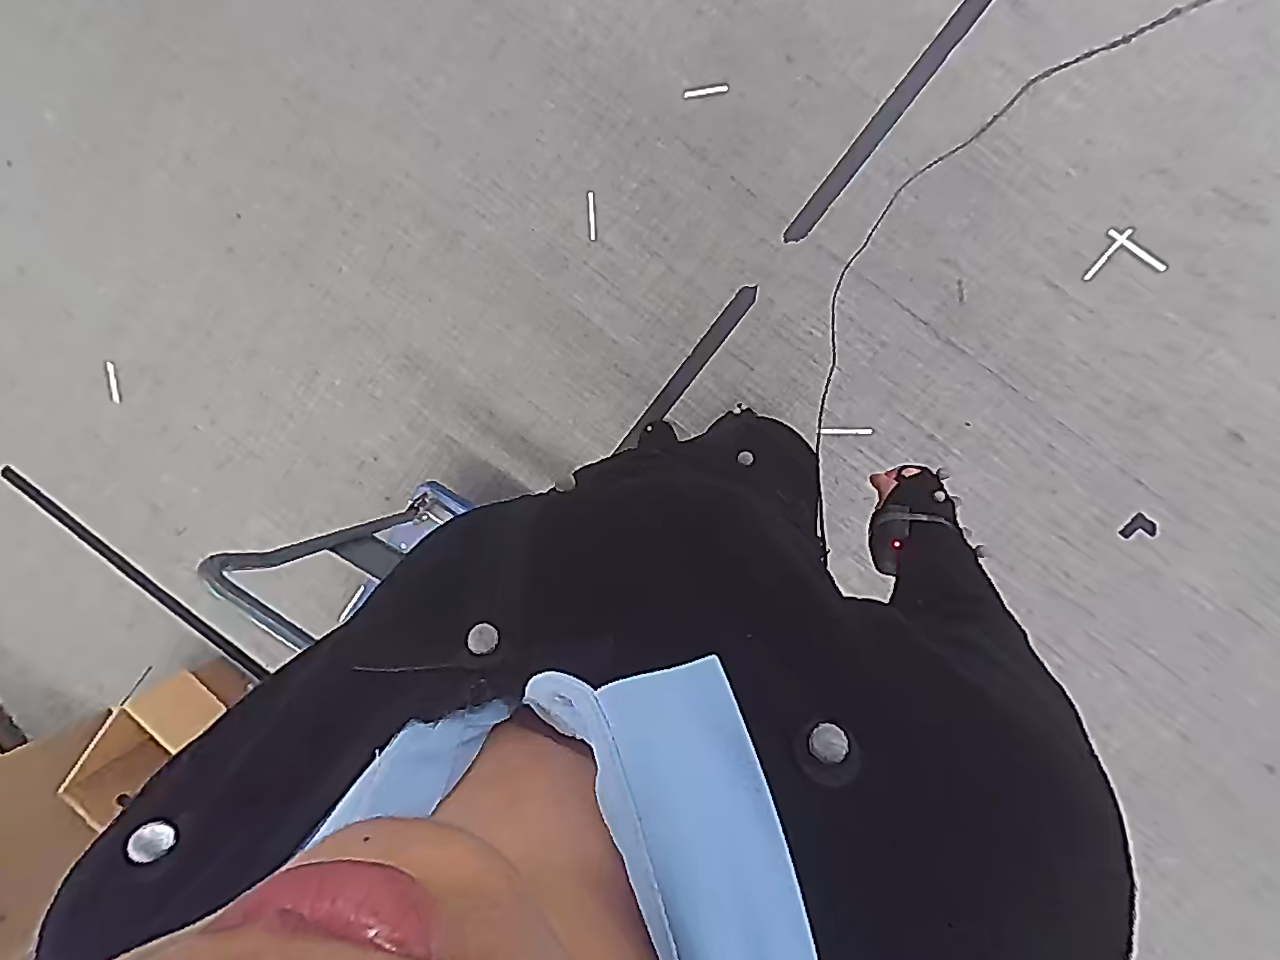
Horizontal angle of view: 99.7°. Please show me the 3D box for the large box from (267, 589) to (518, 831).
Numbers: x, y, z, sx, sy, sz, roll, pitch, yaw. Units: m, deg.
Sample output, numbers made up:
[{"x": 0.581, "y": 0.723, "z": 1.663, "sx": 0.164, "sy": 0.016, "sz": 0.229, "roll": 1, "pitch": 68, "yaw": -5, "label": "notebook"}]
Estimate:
[{"x": -0.587, "y": 0.541, "z": 1.339, "sx": 0.408, "sy": 0.320, "sz": 0.320, "roll": 34, "pitch": 102, "yaw": 0, "label": "large box"}]
